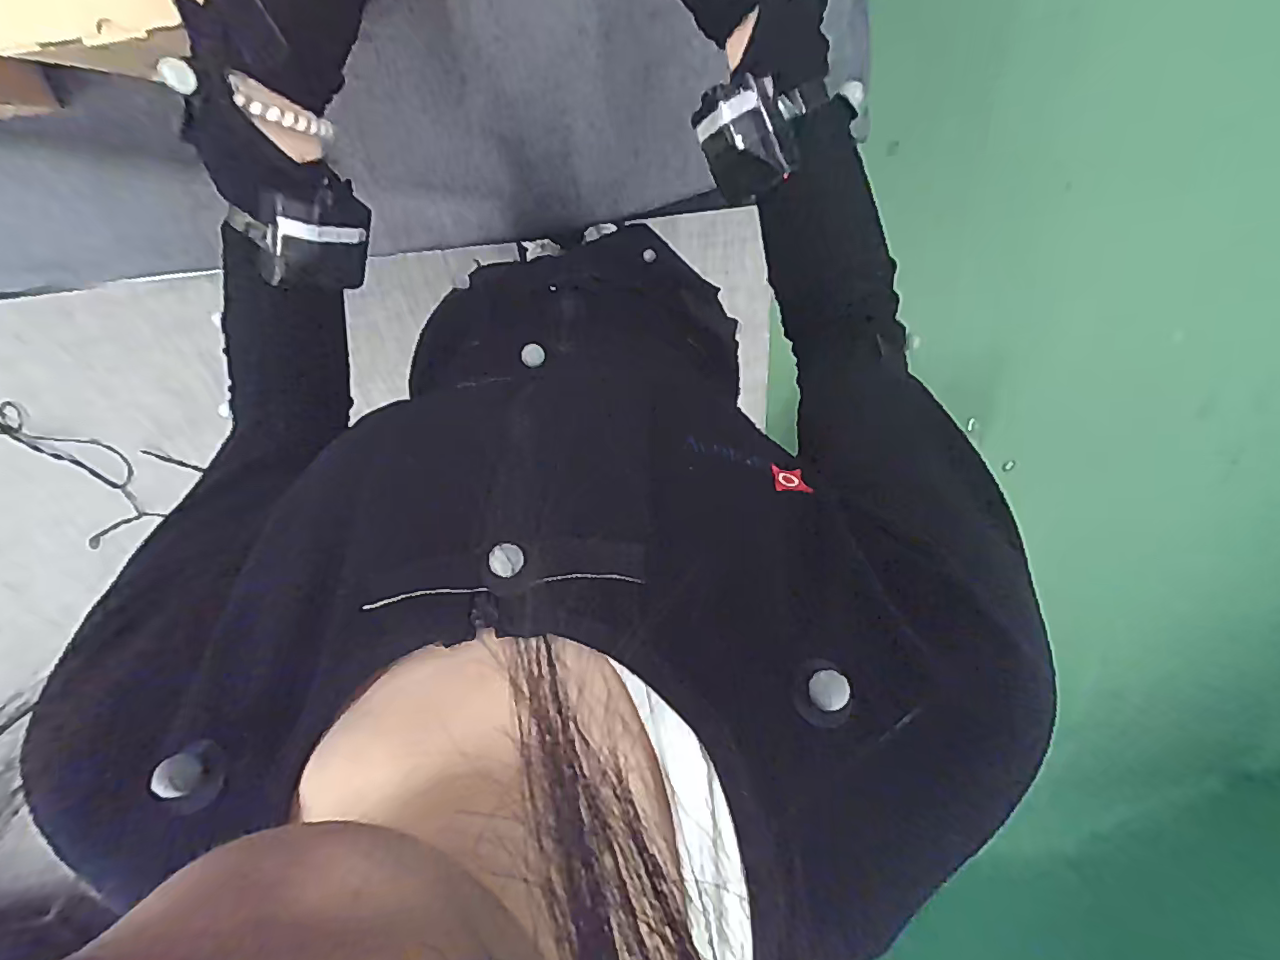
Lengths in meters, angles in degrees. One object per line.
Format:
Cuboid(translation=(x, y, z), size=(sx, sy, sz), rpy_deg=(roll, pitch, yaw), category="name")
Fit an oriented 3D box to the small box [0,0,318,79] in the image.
Cuboid(translation=(-0.379, -0.418, 0.396), size=(0.168, 0.176, 0.179), rpy_deg=(-10, 123, -2), category="small box")
